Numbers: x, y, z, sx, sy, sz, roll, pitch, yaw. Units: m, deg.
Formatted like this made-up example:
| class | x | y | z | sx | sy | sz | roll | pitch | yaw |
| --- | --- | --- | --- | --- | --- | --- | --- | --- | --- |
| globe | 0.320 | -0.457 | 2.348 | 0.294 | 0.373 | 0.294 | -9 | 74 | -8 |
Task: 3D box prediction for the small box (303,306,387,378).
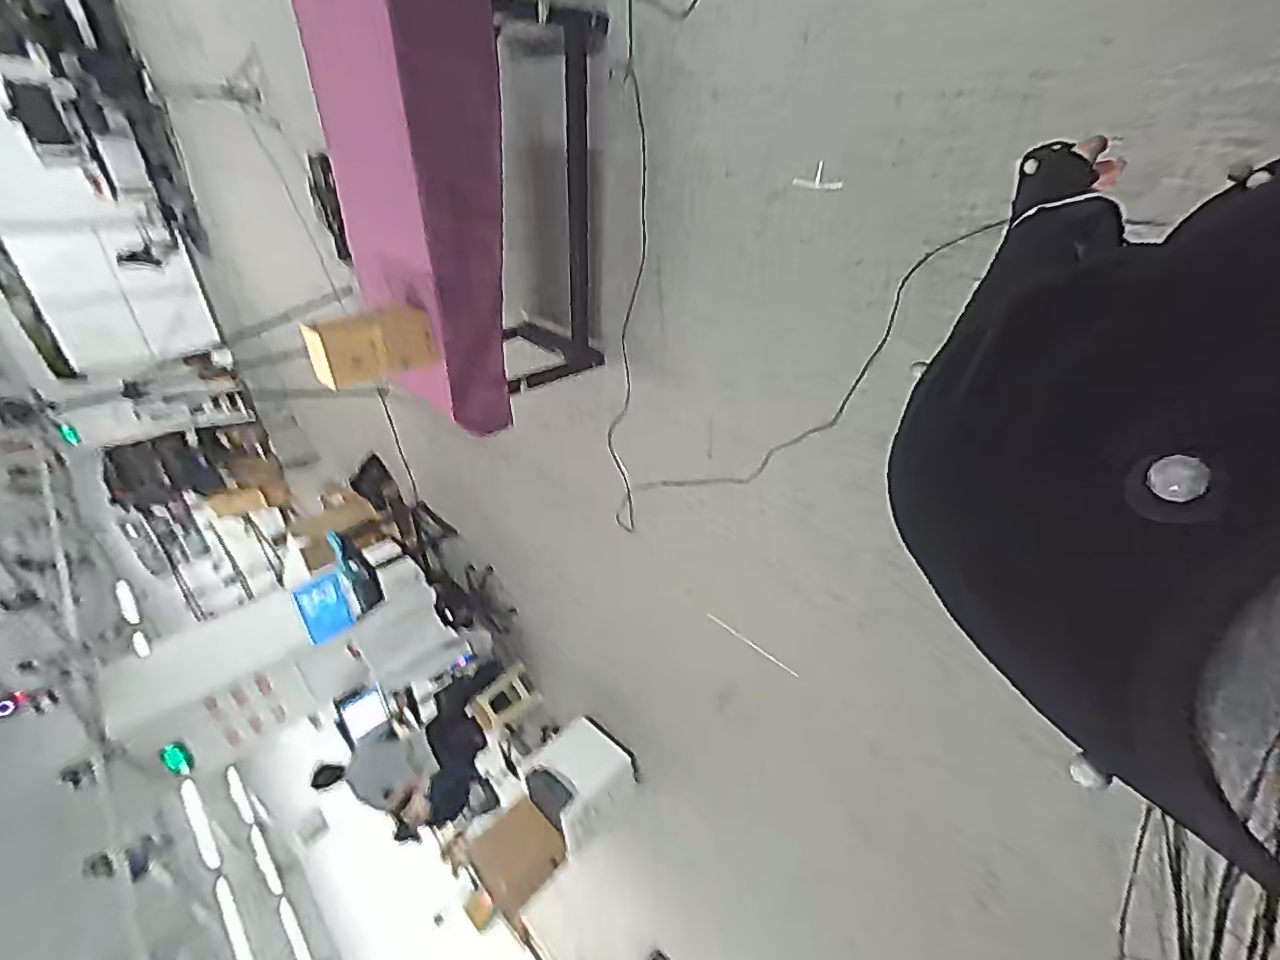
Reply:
| class | x | y | z | sx | sy | sz | roll | pitch | yaw |
| --- | --- | --- | --- | --- | --- | --- | --- | --- | --- |
| small box | -0.908 | -0.435 | 1.683 | 0.179 | 0.176 | 0.168 | 29 | 131 | 38 |
